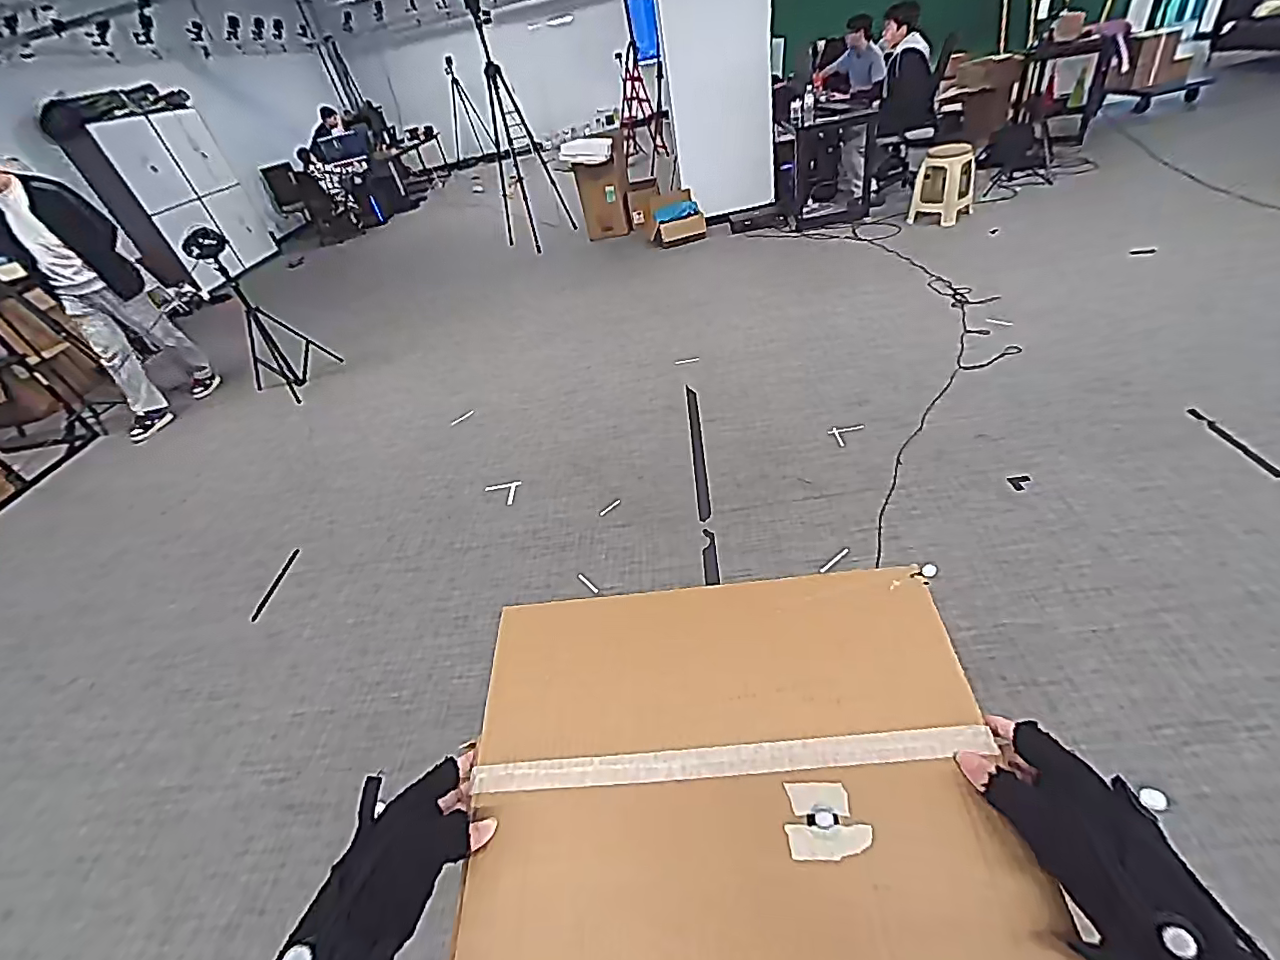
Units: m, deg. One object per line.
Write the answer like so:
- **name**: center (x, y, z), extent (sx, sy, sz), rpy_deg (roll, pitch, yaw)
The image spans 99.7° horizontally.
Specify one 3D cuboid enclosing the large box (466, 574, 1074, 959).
- **large box**: center (0.090, 0.327, 0.547), extent (0.408, 0.320, 0.320), rpy_deg (-7, 48, 6)
